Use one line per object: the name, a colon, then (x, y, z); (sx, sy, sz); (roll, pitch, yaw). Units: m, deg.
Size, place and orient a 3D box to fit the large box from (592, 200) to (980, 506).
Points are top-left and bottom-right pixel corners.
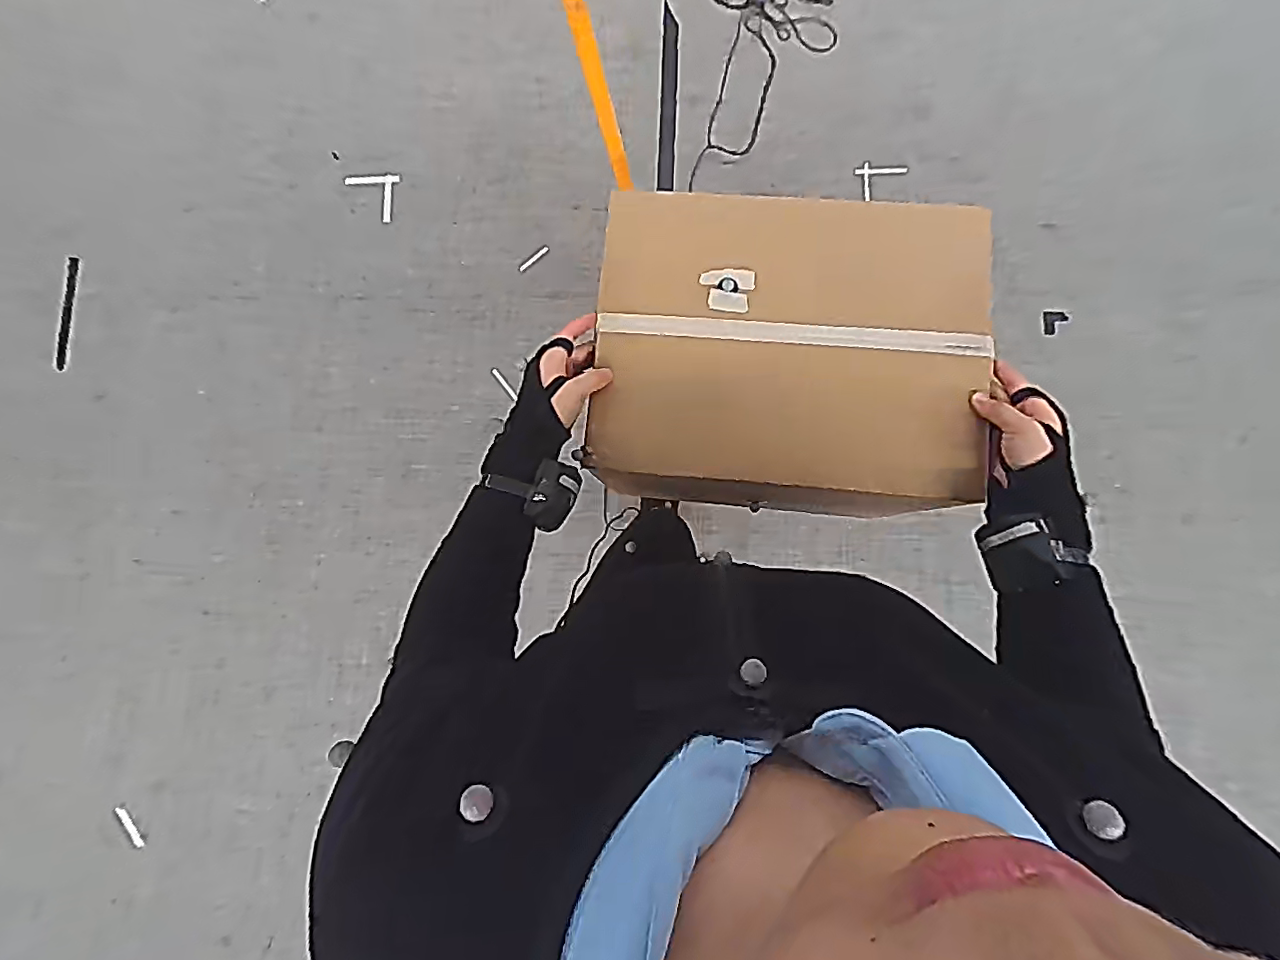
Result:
large box: (0.168, -0.136, 0.726); (0.408, 0.320, 0.320); (4, 82, 5)
